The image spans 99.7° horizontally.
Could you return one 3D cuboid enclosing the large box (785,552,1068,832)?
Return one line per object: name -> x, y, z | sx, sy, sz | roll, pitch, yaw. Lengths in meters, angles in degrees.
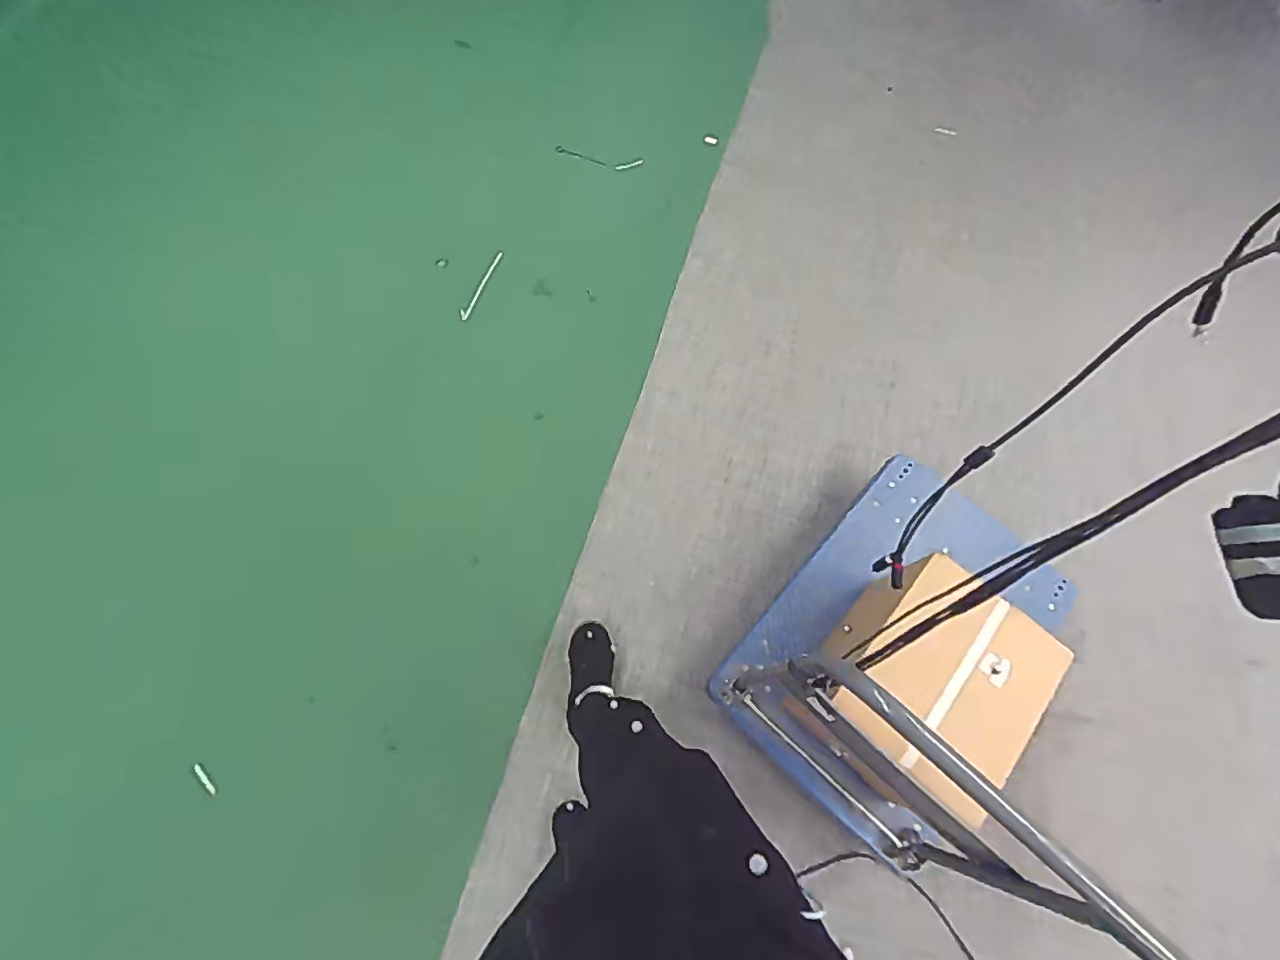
large box -> 0.578, 0.433, 1.150 | 0.320, 0.320, 0.408 | 41, 71, 13
